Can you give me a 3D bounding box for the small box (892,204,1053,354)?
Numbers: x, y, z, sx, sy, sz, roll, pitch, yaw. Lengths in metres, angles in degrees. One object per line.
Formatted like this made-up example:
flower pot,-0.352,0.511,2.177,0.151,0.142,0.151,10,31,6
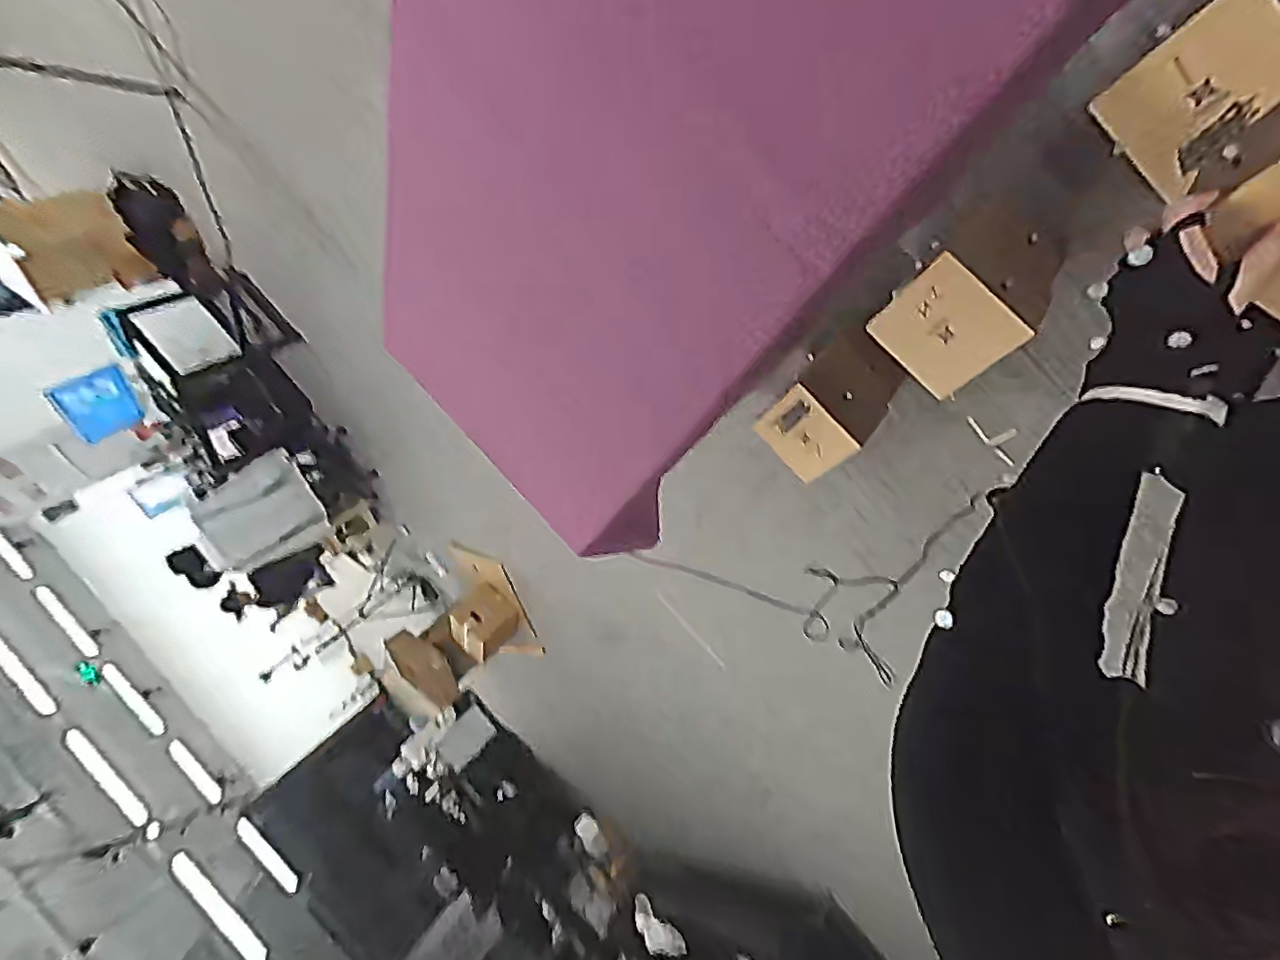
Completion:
small box,0.614,-0.370,0.997,0.168,0.176,0.179,47,143,3
